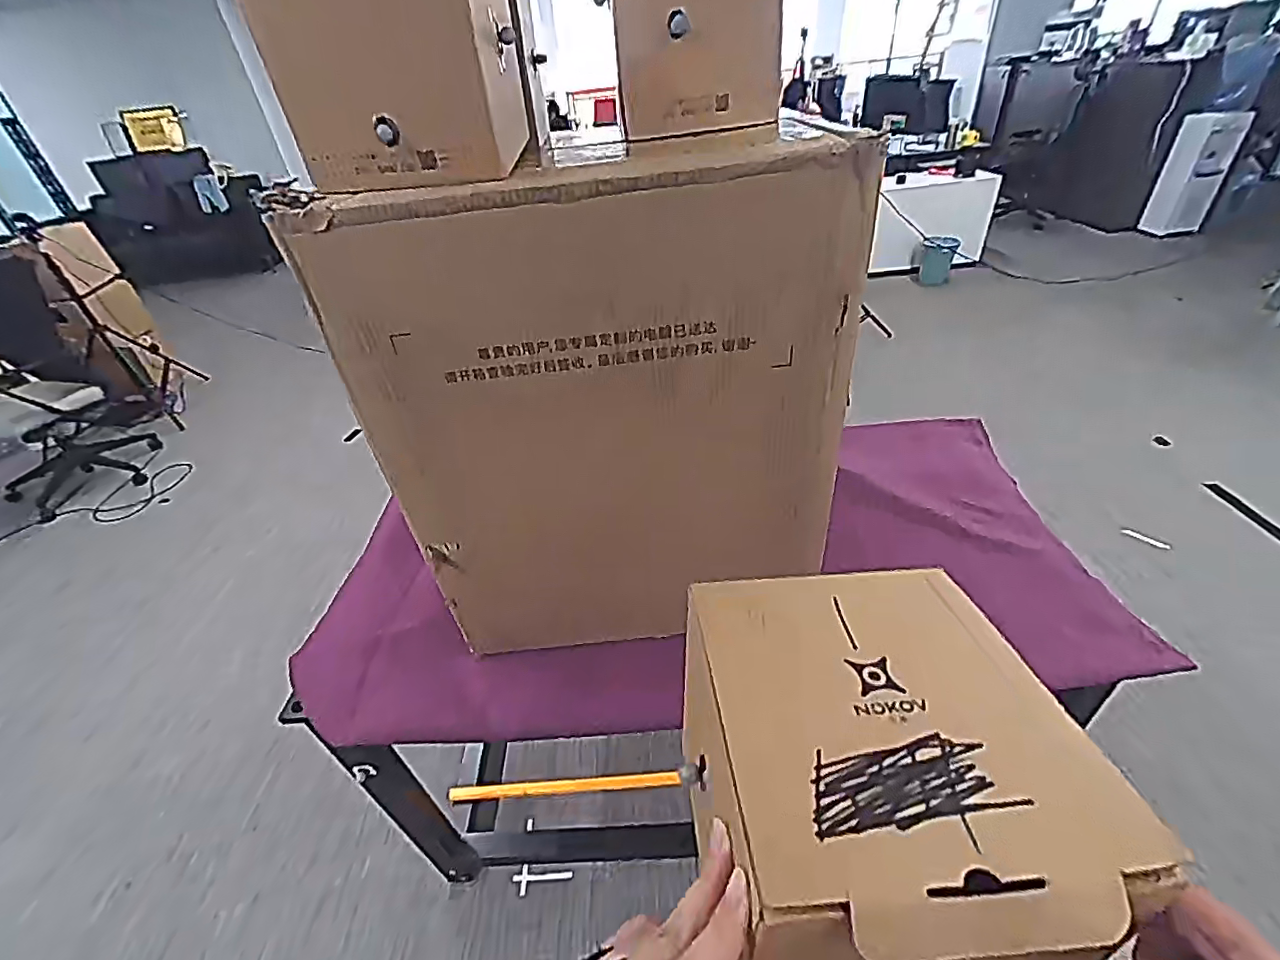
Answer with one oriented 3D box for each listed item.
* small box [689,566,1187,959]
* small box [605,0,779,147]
[{"bbox_3d":[0.121,0.173,0.309,0.168,0.176,0.179,-3,31,-3],"label":"small box"},{"bbox_3d":[0.053,-0.476,0.594,0.168,0.176,0.179,-8,37,1],"label":"small box"}]
